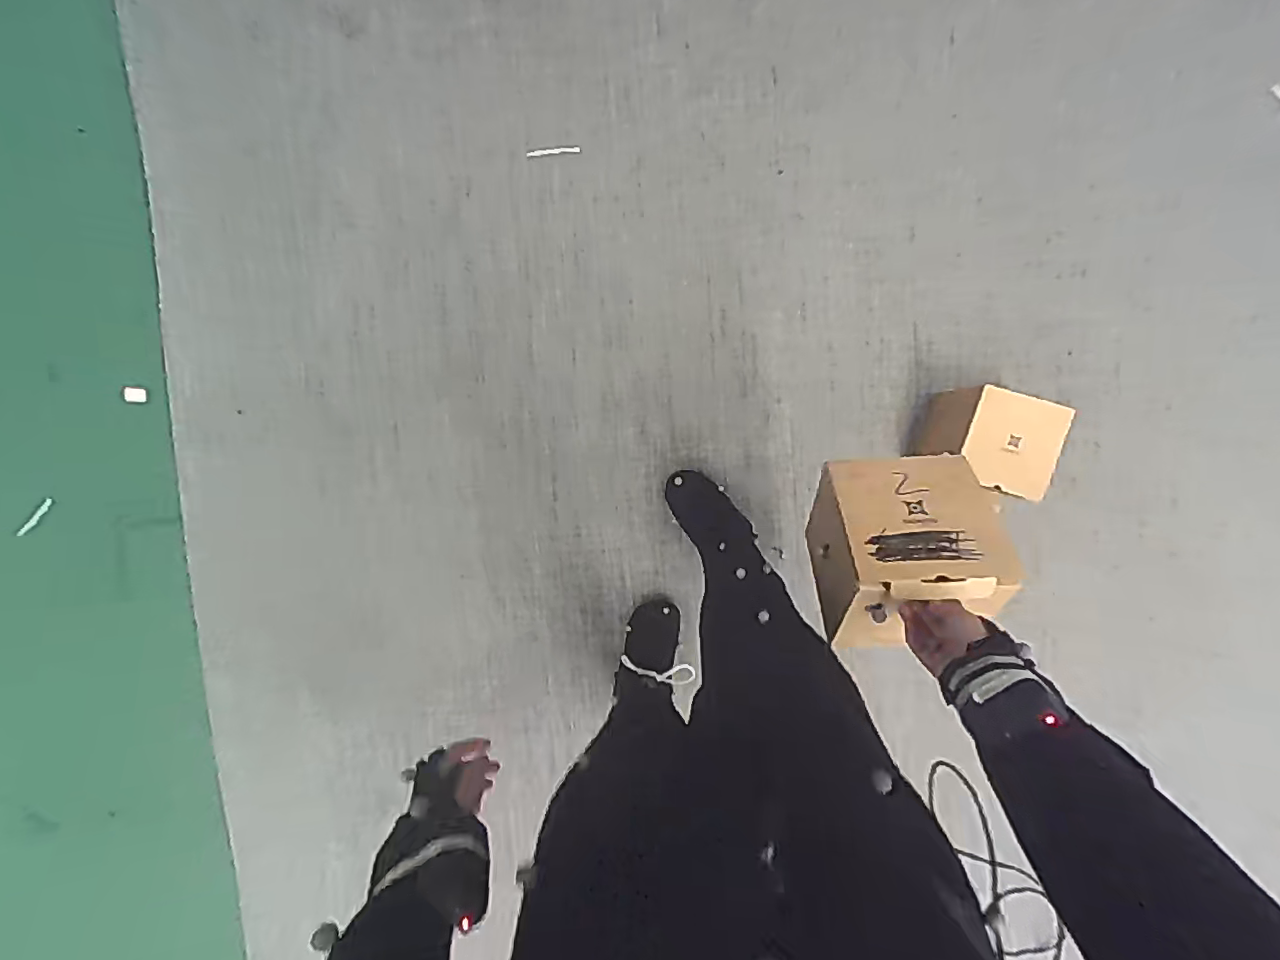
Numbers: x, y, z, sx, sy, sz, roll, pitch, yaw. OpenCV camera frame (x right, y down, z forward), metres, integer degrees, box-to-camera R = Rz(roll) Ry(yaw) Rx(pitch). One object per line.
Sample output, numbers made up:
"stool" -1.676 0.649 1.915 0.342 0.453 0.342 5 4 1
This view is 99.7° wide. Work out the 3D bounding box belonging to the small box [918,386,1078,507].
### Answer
"small box" 0.659 -0.065 1.020 0.168 0.176 0.179 17 96 1
